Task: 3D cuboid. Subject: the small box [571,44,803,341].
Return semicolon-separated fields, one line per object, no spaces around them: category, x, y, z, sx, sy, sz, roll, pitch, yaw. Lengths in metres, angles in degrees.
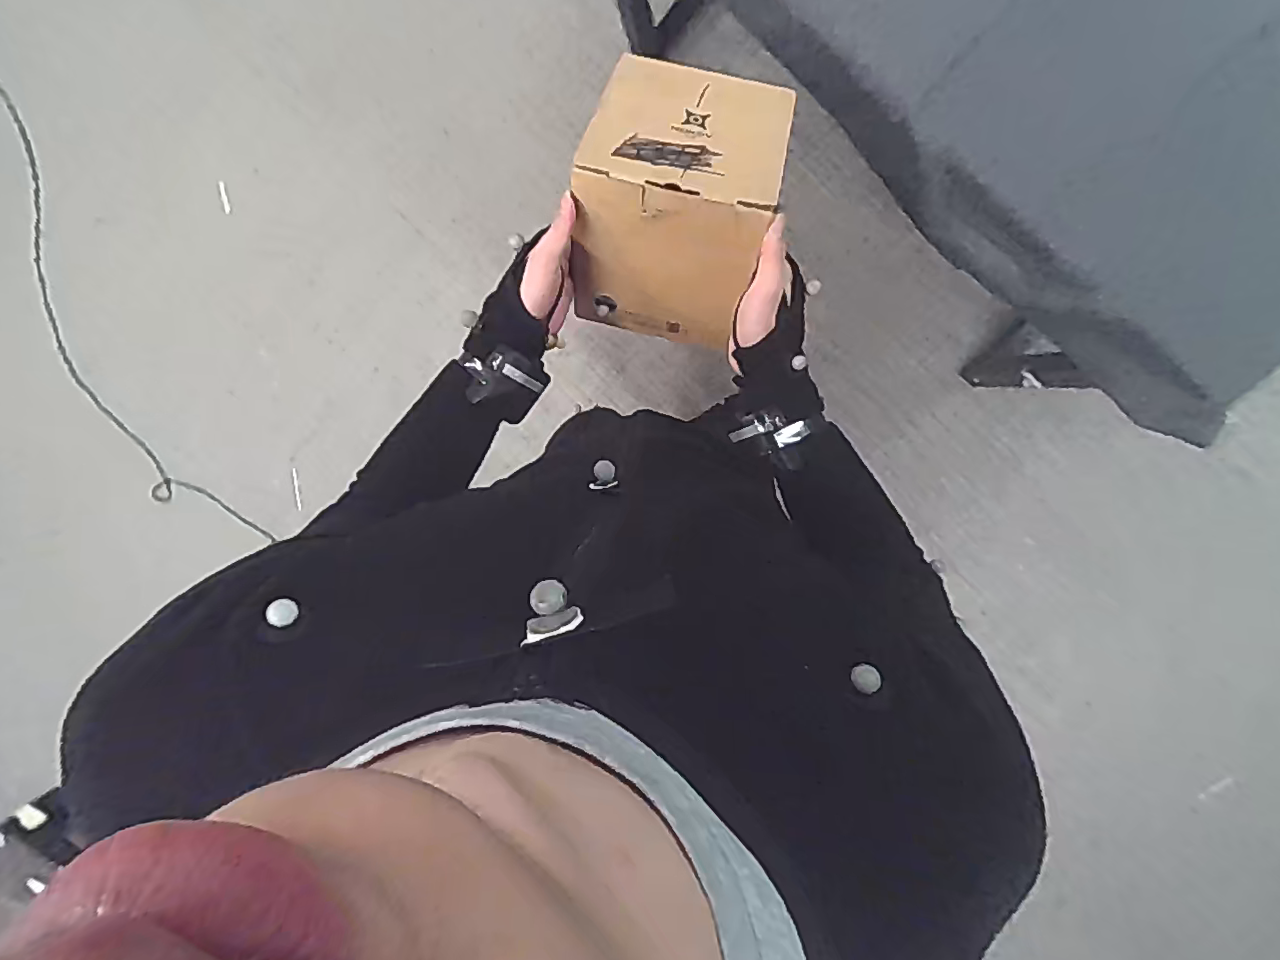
small box;0.040;-0.263;0.519;0.168;0.176;0.179;15;63;1
